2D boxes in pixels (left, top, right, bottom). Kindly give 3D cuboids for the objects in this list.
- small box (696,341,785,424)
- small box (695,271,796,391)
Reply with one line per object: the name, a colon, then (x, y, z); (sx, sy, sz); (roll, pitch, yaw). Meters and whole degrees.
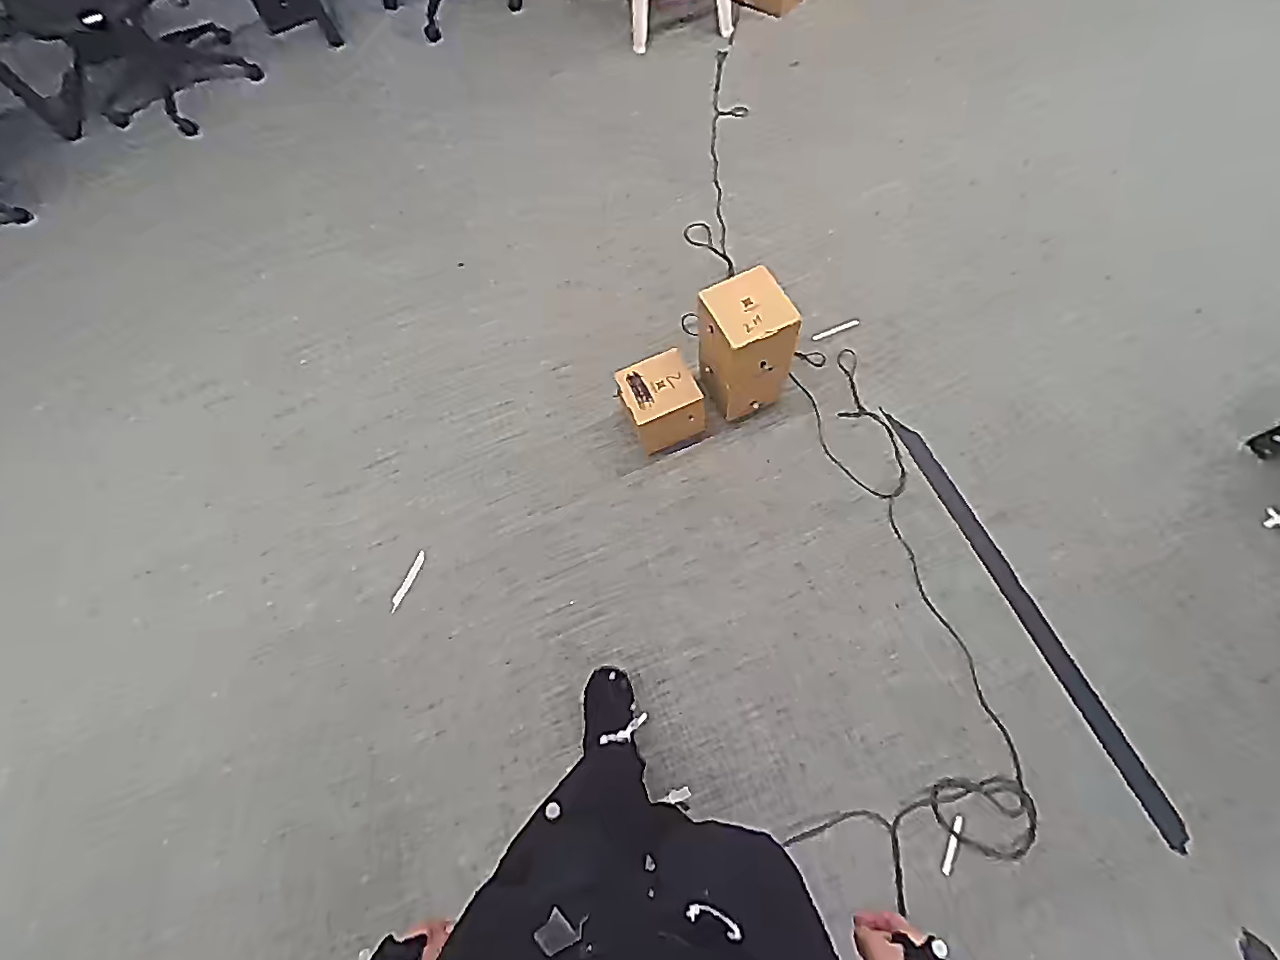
small box: (0.252, -0.276, 1.405); (0.168, 0.176, 0.179); (-23, 68, -3)
small box: (0.235, -0.339, 1.254); (0.168, 0.176, 0.179); (-25, 68, -3)
